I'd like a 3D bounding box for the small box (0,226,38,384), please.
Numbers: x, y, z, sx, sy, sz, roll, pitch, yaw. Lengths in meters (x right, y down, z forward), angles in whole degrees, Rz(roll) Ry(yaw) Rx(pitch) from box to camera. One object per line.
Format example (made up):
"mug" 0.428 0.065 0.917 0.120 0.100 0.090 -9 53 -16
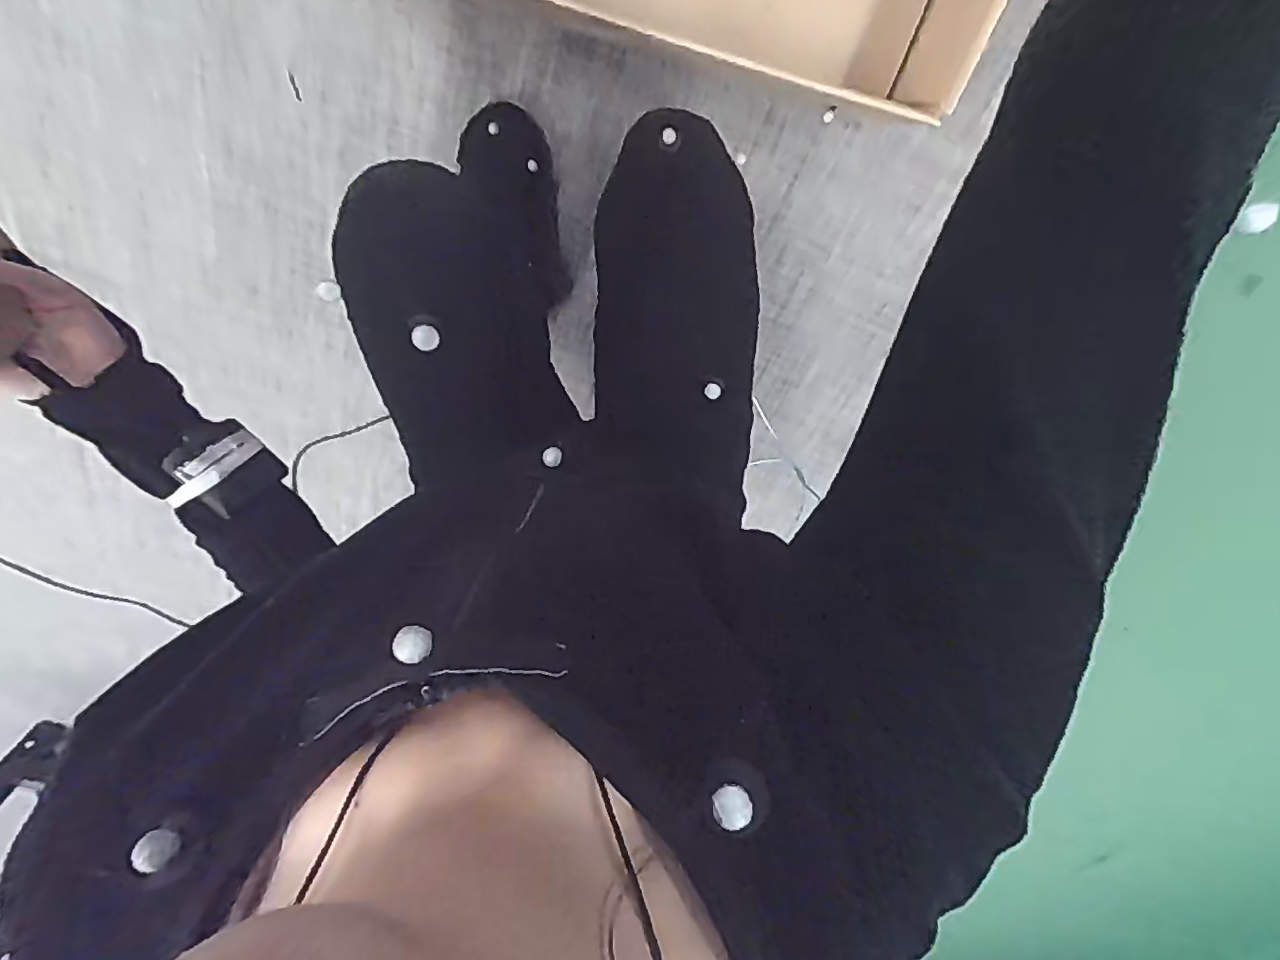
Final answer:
"small box" -0.420 -0.103 0.222 0.168 0.176 0.179 4 135 -25
